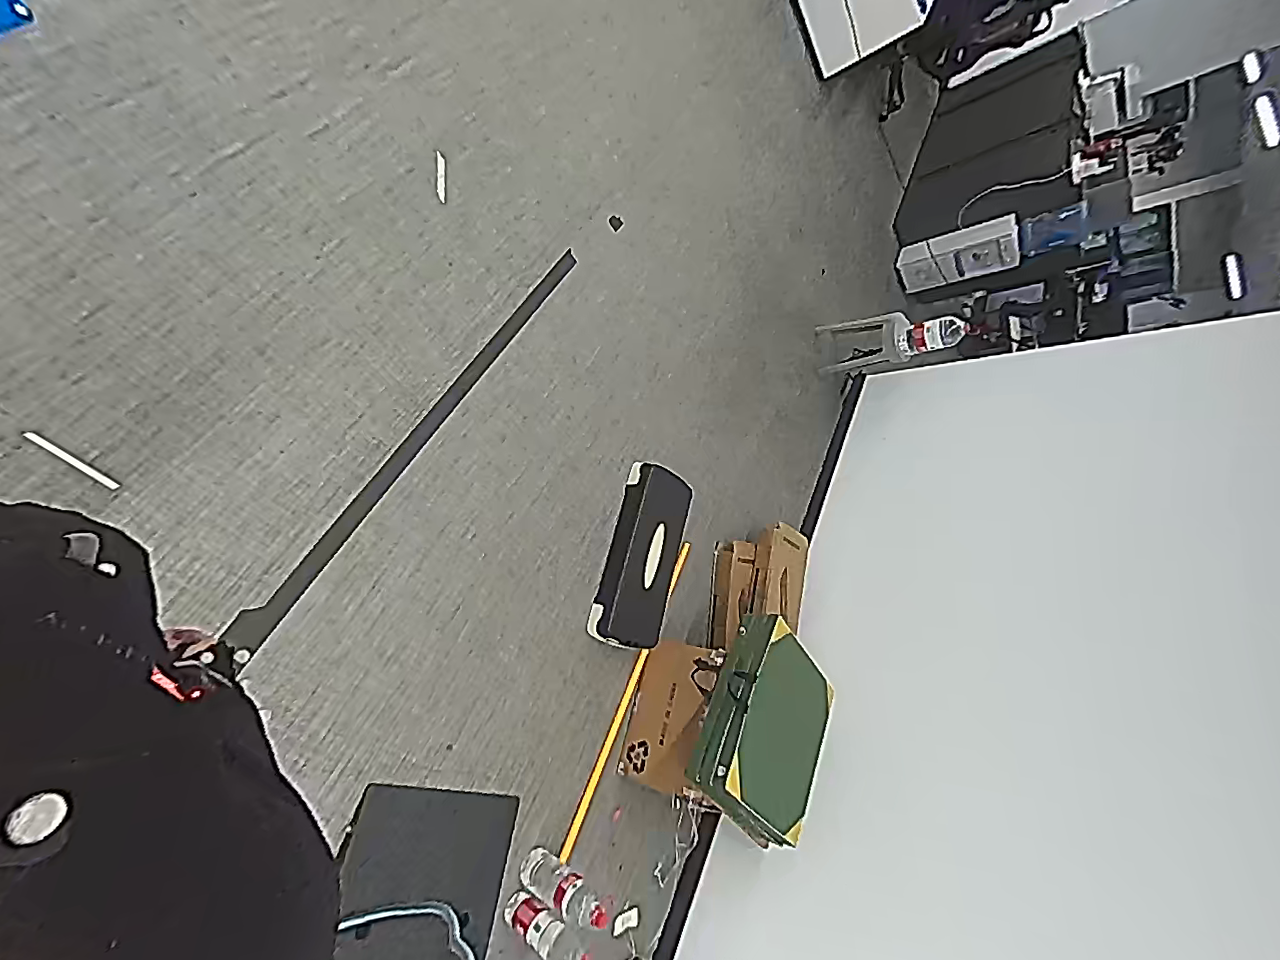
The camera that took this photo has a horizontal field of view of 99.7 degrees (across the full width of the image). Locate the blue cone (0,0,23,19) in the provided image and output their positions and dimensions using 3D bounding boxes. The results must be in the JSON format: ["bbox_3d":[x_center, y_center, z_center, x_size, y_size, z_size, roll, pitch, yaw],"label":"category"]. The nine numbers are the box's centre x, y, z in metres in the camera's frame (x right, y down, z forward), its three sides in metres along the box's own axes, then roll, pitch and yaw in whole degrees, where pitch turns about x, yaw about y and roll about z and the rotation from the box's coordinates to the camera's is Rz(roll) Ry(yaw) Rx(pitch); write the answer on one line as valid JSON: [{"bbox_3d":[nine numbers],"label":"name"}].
[{"bbox_3d":[-1.031,-0.818,0.736,0.193,0.380,0.192,52,53,-33],"label":"blue cone"}]
